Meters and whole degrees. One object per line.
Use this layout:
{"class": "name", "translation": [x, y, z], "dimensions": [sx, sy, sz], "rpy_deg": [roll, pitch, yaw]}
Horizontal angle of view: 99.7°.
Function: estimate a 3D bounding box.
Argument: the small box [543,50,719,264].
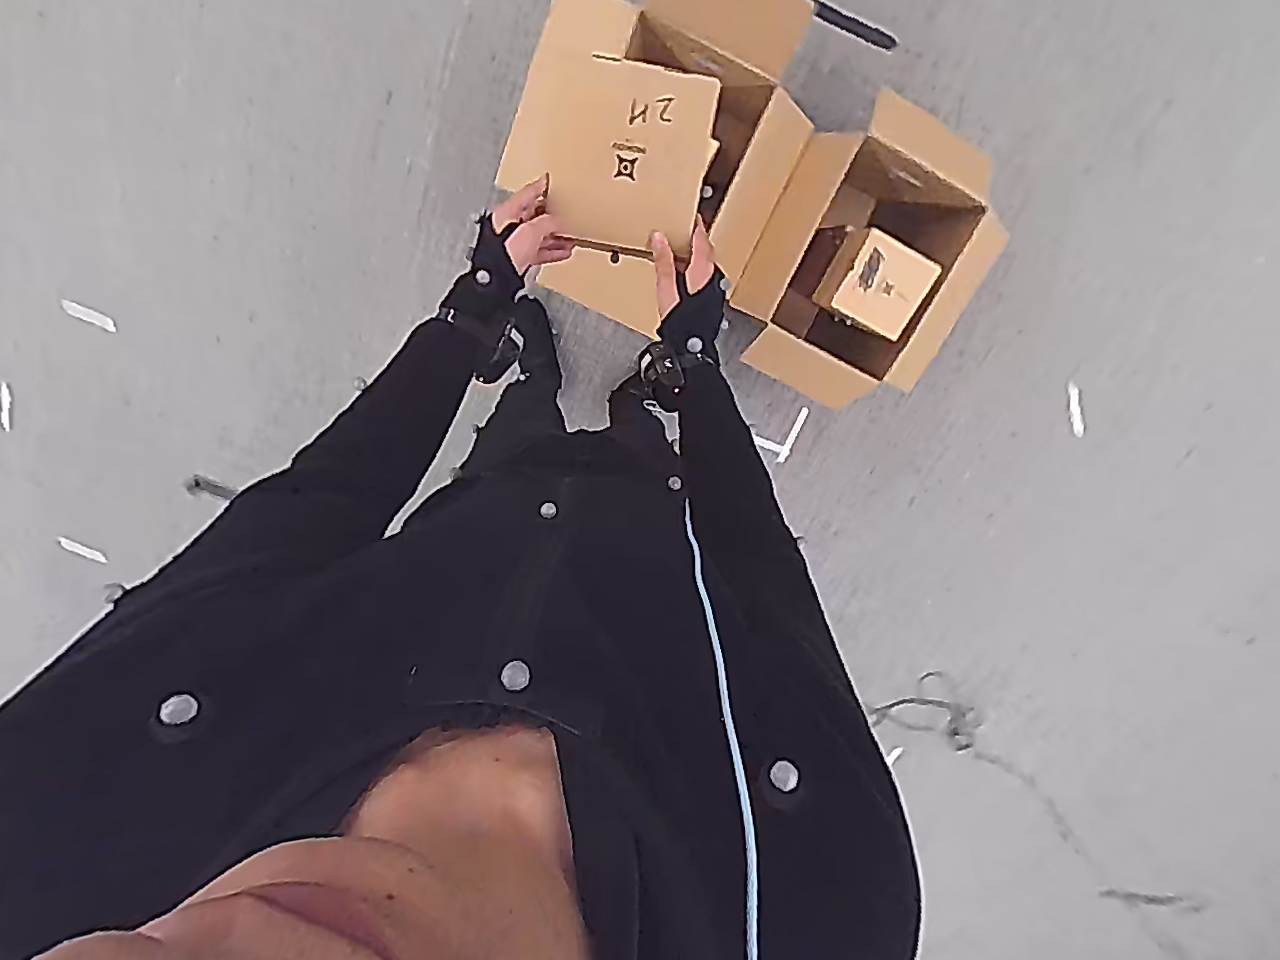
{"class": "small box", "translation": [-0.012, -0.364, 0.647], "dimensions": [0.168, 0.176, 0.179], "rpy_deg": [9, 110, -3]}
